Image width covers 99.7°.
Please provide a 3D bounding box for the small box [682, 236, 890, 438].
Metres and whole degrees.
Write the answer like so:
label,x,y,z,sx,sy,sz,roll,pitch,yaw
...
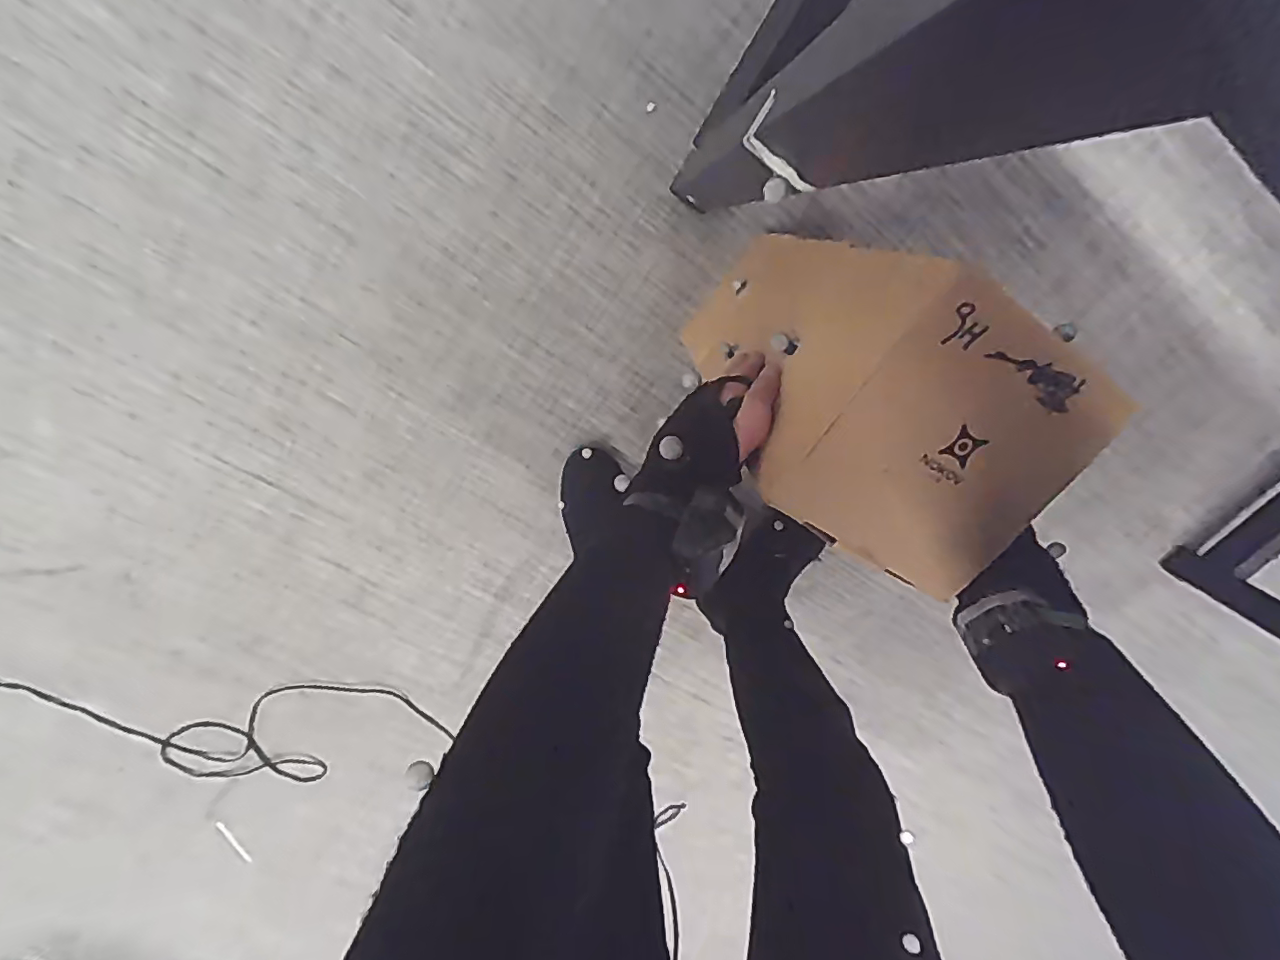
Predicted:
label,x,y,z,sx,sy,sz,roll,pitch,yaw
small box,0.171,-0.191,0.697,0.168,0.176,0.179,34,109,-17
